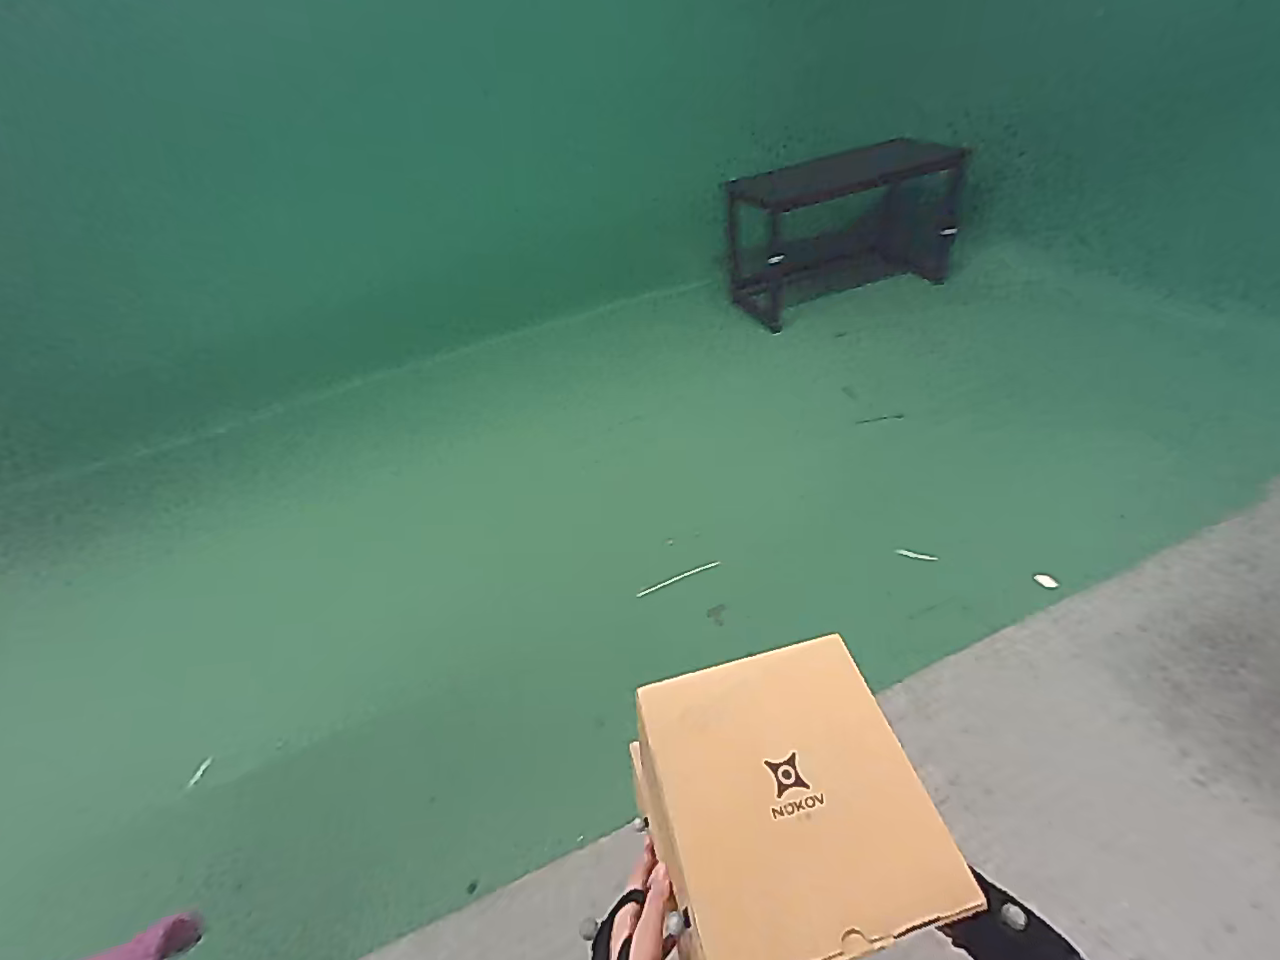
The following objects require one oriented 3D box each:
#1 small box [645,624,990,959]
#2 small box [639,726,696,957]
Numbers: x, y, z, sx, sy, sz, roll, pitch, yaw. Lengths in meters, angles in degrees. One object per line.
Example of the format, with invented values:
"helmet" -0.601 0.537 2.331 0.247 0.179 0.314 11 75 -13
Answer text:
"small box" 0.101 0.240 0.406 0.168 0.176 0.179 -11 47 -8
"small box" 0.101 0.339 0.537 0.179 0.176 0.168 -11 45 -9
